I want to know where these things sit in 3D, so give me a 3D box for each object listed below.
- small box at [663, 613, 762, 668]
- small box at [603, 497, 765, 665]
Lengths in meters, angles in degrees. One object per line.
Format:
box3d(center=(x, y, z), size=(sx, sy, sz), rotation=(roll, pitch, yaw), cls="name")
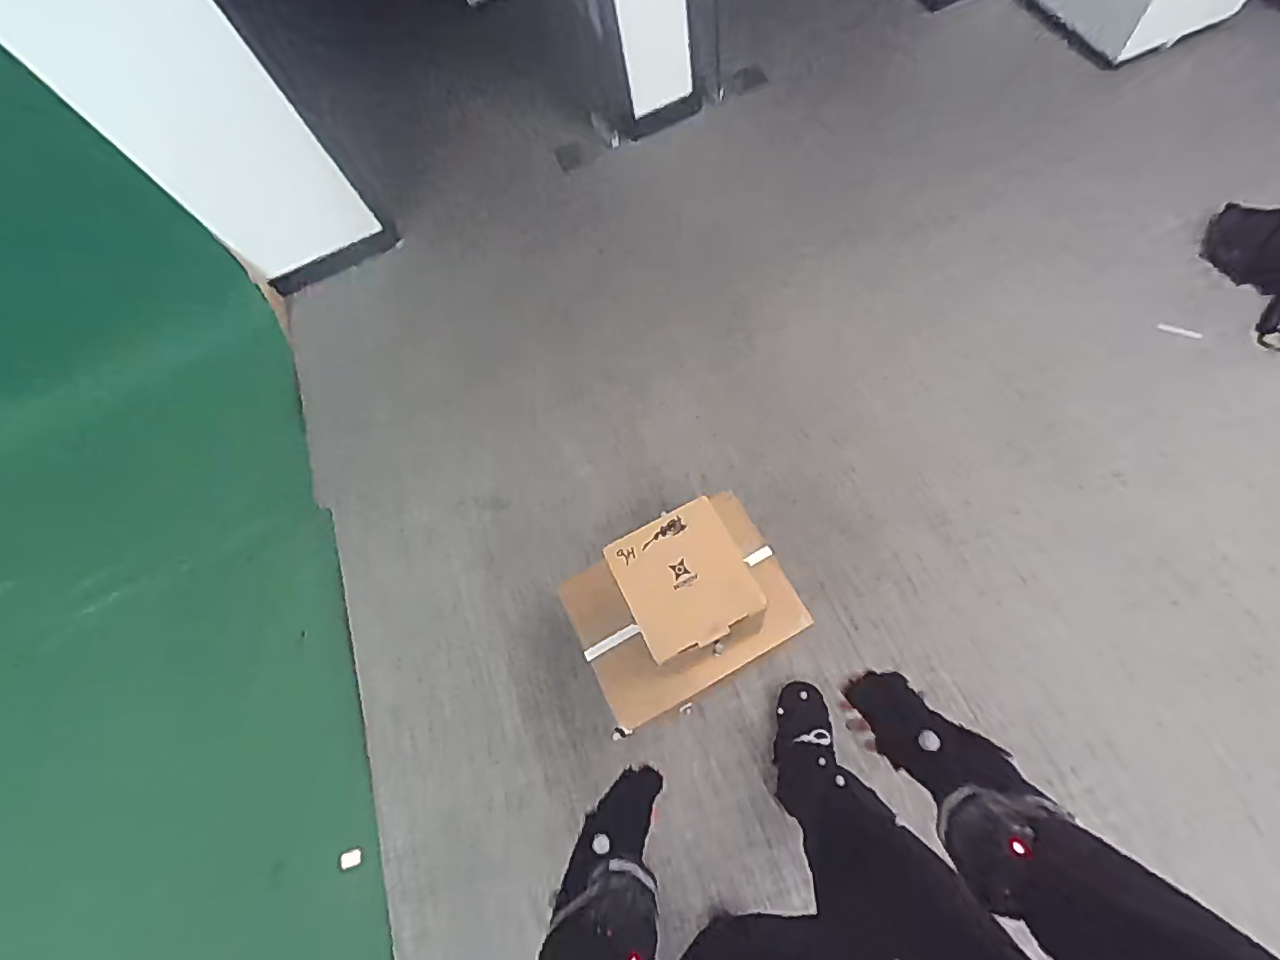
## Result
box3d(center=(0.094, 0.217, 0.943), size=(0.179, 0.176, 0.168), rotation=(-26, 68, -2), cls="small box")
box3d(center=(0.068, 0.154, 0.795), size=(0.168, 0.176, 0.179), rotation=(-27, 68, -1), cls="small box")
